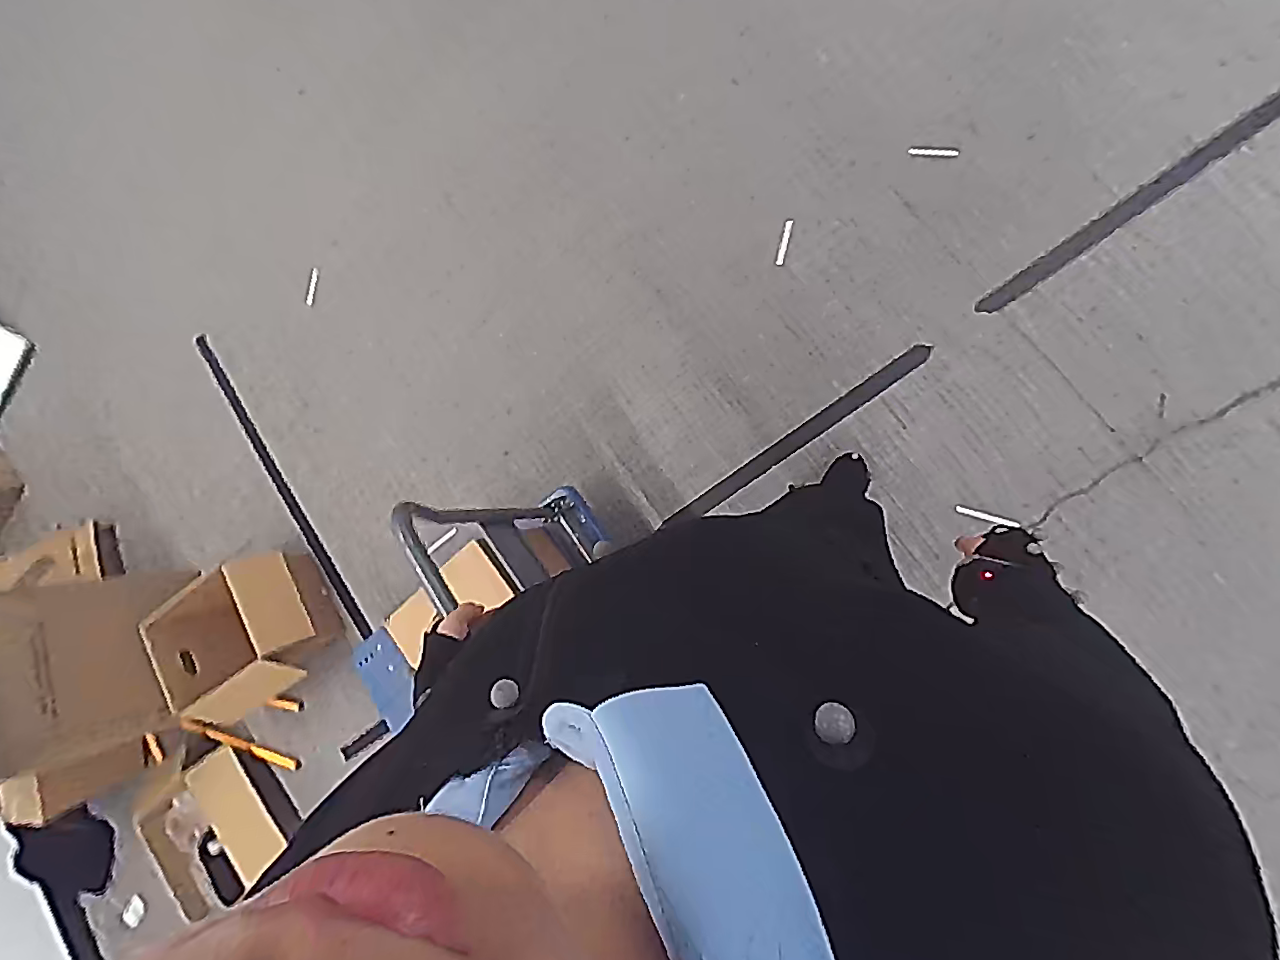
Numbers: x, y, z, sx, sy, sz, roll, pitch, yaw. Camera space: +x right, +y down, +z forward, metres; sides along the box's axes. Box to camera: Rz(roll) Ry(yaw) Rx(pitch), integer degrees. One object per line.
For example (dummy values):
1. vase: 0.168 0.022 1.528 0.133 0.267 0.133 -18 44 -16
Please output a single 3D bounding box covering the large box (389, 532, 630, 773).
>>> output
1. large box: -0.293 0.381 1.292 0.320 0.320 0.408 -42 78 12
